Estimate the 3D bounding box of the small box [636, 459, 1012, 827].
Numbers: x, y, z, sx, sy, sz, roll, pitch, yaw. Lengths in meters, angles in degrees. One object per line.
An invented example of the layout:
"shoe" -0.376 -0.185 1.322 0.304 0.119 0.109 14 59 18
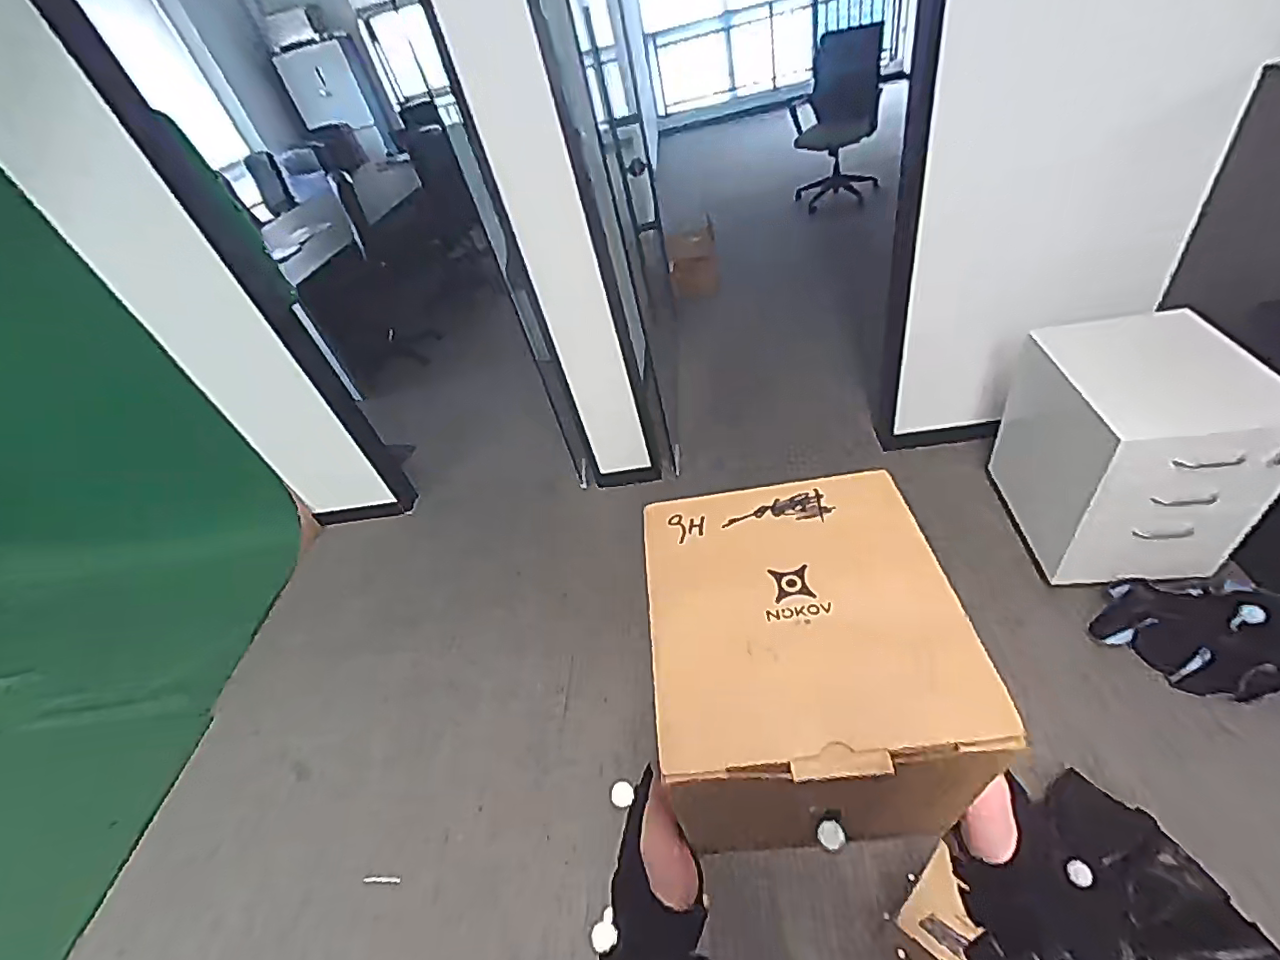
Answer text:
"small box" 0.091 0.113 0.354 0.168 0.176 0.179 -7 47 4
